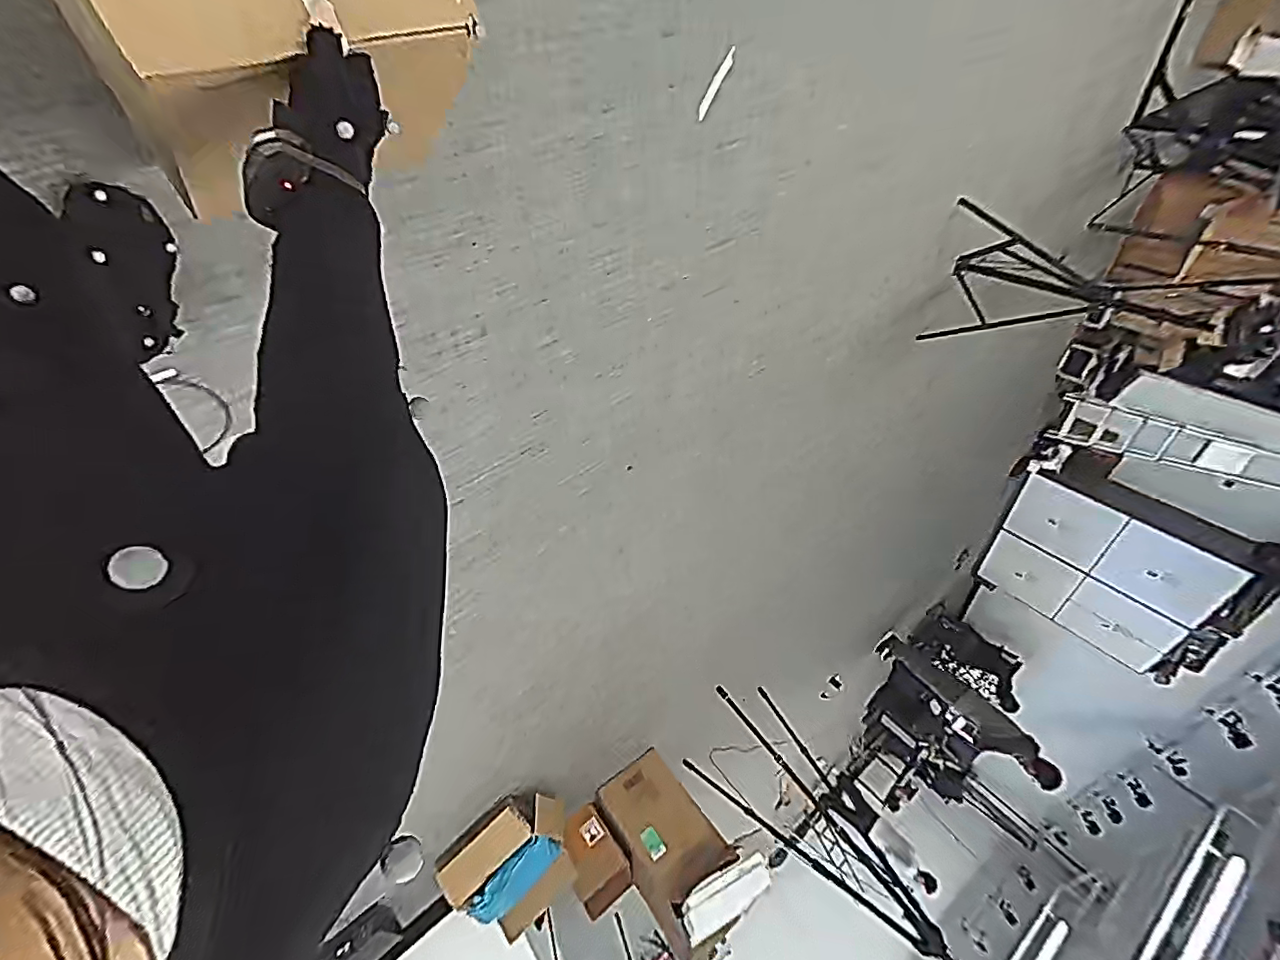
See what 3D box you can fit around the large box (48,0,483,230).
[{"bbox_3d":[-0.441,-0.555,0.568,0.320,0.320,0.408,-36,109,-26],"label":"large box"}]
